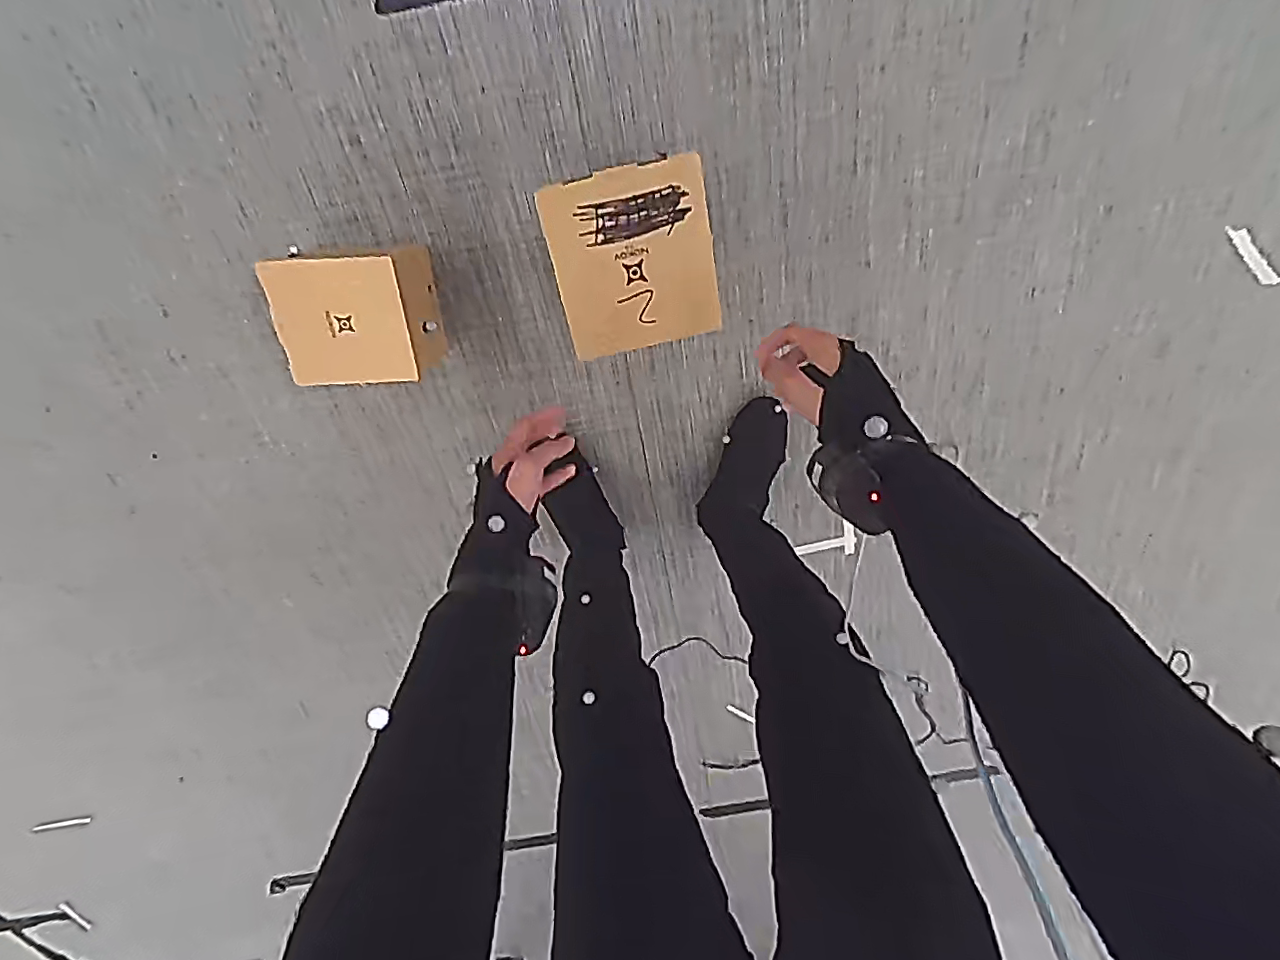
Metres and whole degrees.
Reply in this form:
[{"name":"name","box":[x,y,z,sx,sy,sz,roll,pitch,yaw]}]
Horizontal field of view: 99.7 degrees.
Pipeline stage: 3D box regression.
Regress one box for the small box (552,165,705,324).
[{"name":"small box","box":[-0.015,-0.335,0.771,0.179,0.176,0.168,-12,118,1]}]

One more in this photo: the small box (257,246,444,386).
[{"name":"small box","box":[-0.401,-0.246,0.792,0.179,0.176,0.168,-3,118,-1]}]
